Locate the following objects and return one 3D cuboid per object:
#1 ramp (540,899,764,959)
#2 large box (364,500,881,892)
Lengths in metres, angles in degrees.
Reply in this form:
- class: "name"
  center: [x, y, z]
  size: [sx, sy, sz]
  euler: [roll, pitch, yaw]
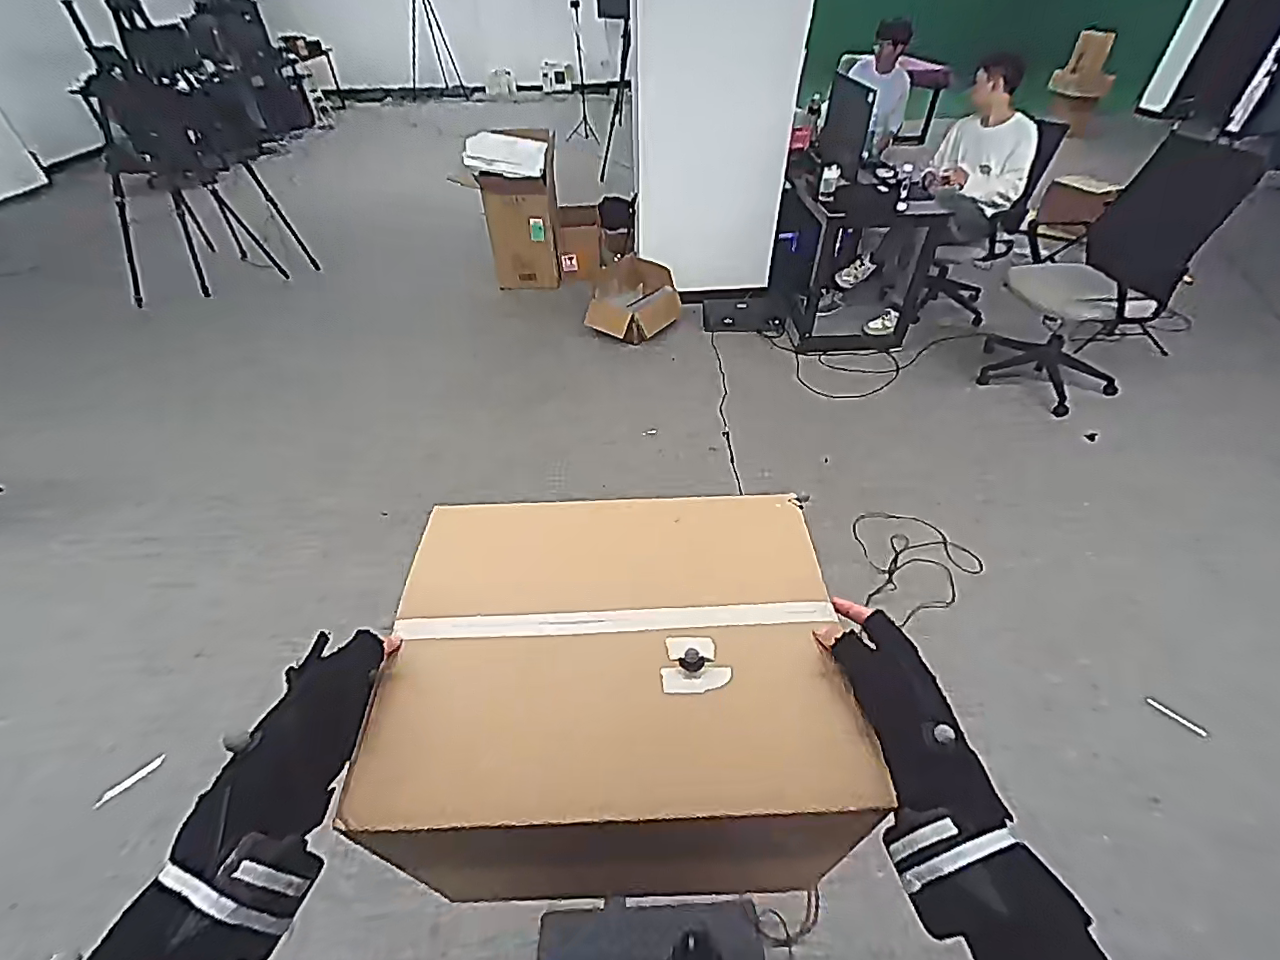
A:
- class: "ramp"
  center: [0.040, 1.260, 0.836]
  size: [0.509, 0.206, 0.991]
  euler: [-4, 43, -2]
- class: "large box"
  center: [-0.017, 0.243, 0.617]
  size: [0.408, 0.320, 0.320]
  euler: [-1, 45, -1]
